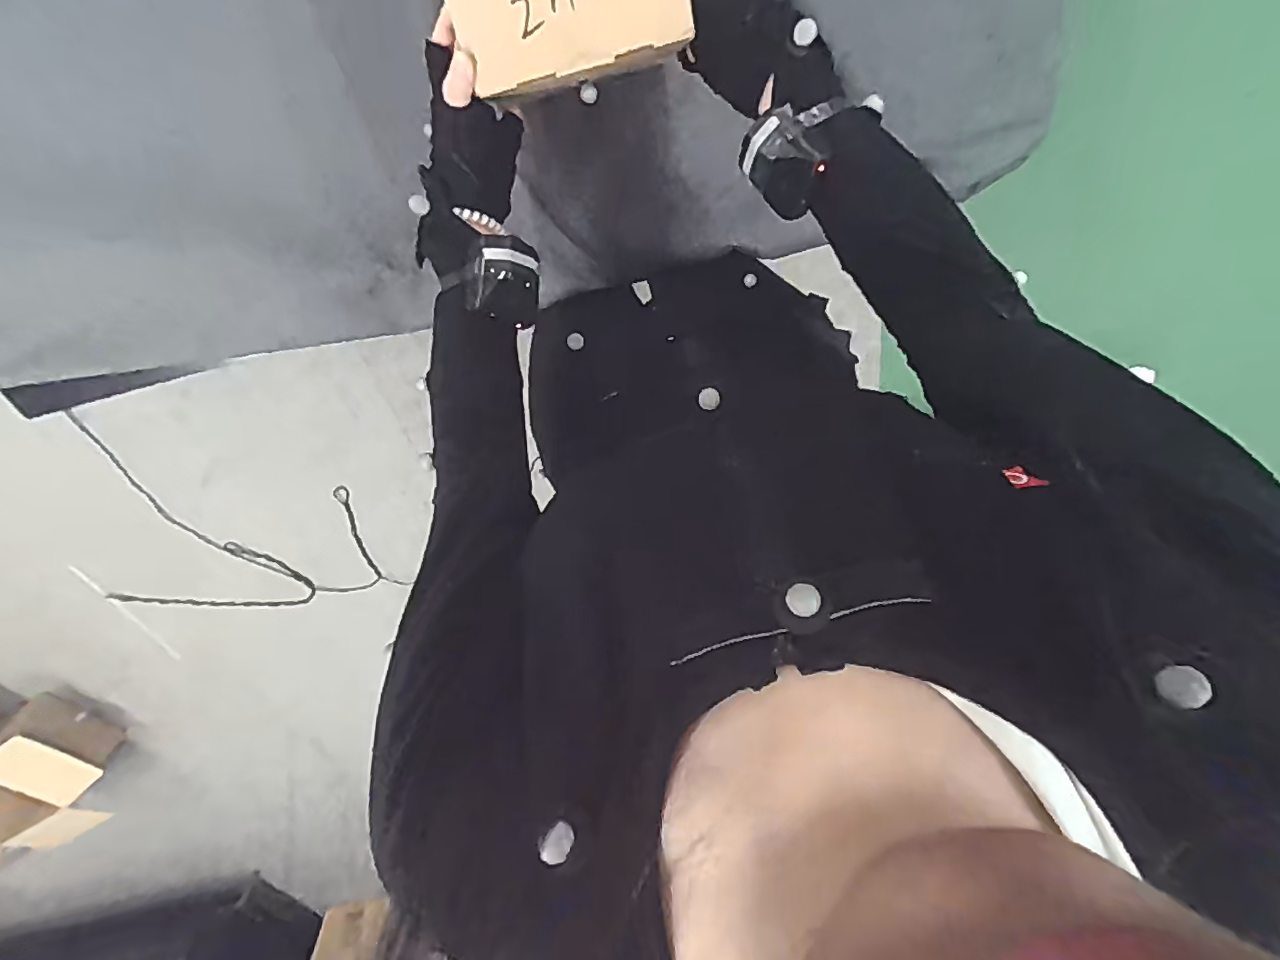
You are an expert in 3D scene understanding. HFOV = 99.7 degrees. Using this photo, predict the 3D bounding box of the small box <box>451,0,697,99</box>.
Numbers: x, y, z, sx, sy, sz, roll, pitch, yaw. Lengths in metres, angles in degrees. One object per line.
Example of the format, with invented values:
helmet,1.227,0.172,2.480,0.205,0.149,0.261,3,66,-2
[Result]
small box,-0.063,-0.413,0.407,0.168,0.176,0.179,-13,123,3
